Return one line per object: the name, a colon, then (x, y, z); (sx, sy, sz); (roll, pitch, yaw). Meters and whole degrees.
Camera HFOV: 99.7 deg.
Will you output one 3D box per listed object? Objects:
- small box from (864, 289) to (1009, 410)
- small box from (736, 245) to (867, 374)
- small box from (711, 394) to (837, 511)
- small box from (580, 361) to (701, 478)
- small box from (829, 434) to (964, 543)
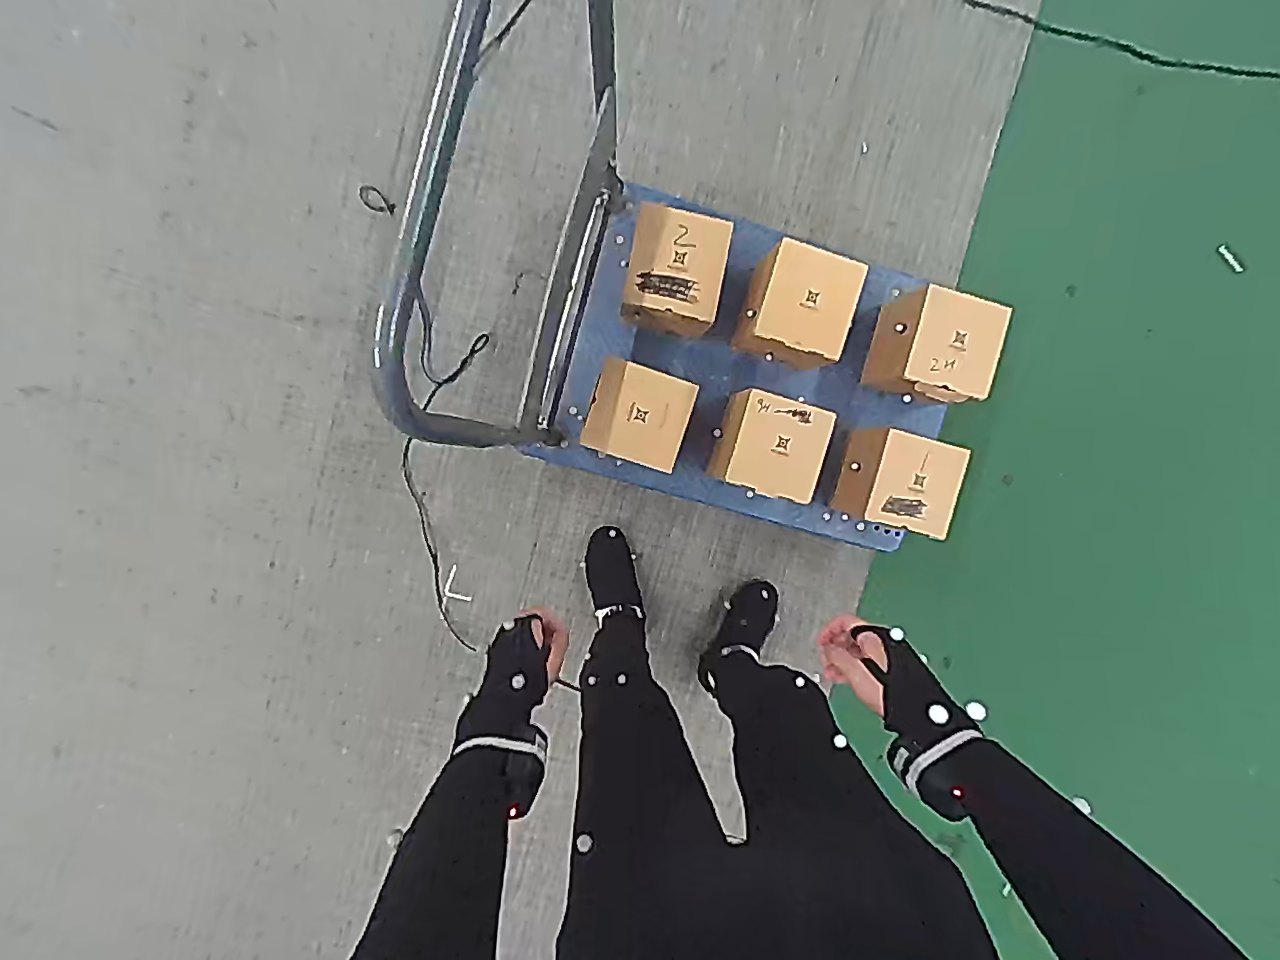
small box: (0.568, -0.245, 1.060); (0.168, 0.176, 0.179); (15, 93, -4)
small box: (0.298, -0.315, 1.037); (0.168, 0.176, 0.179); (16, 95, -6)
small box: (0.248, -0.055, 1.050); (0.168, 0.176, 0.179); (16, 93, -7)
small box: (-0.006, -0.110, 1.027); (0.179, 0.176, 0.168); (18, 93, -7)
small box: (0.505, 0.011, 1.093); (0.168, 0.176, 0.179); (15, 93, -6)
